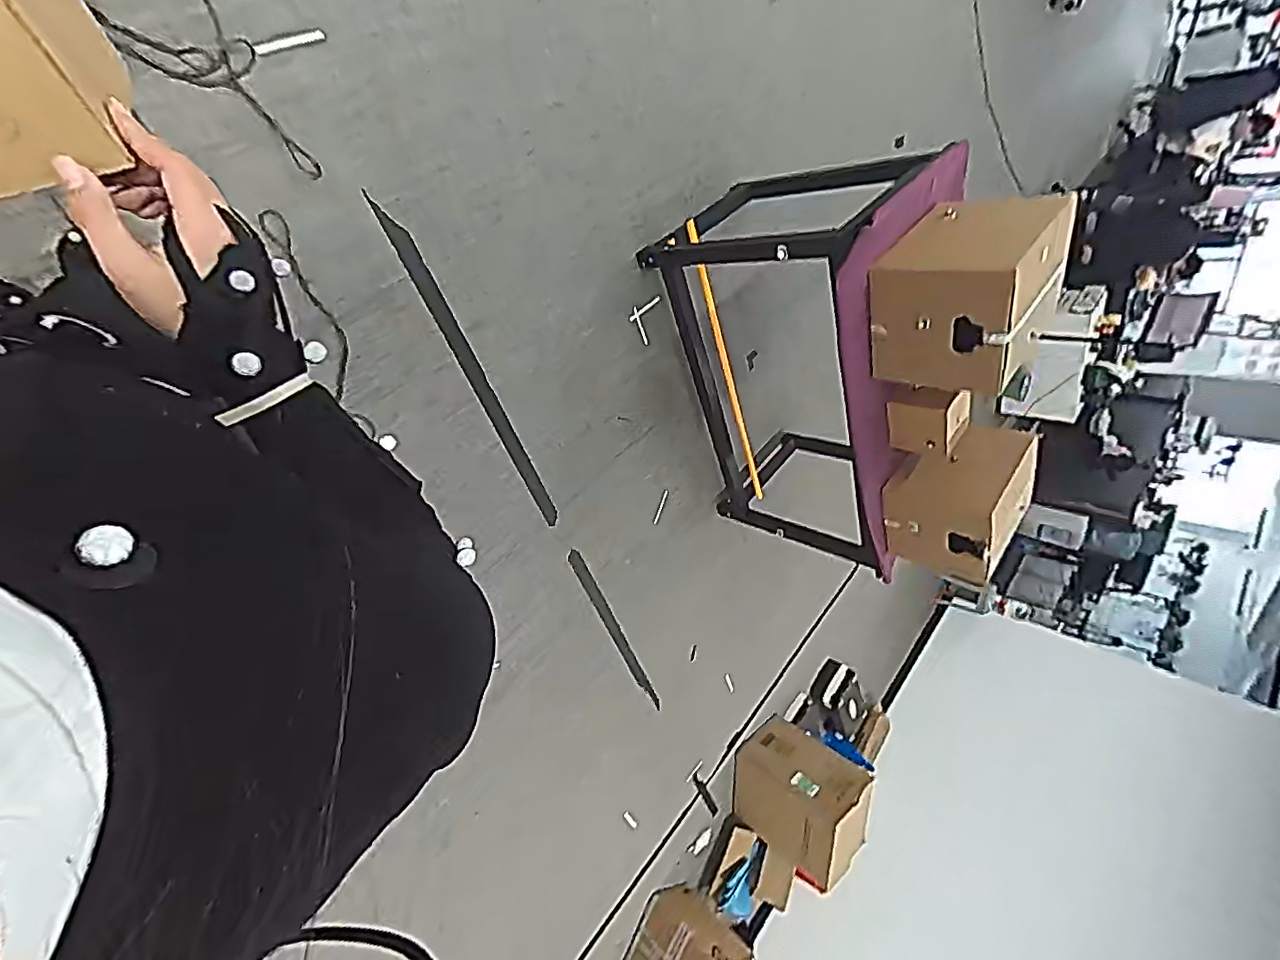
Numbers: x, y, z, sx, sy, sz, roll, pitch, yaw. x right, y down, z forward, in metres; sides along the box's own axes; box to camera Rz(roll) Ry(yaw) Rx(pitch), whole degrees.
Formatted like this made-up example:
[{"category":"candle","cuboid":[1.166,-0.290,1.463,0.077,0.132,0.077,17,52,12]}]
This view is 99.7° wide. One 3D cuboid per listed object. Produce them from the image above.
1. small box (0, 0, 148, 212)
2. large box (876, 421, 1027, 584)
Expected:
[{"category":"small box","cuboid":[-0.376,-0.237,0.239,0.168,0.176,0.179,-25,149,-16]},{"category":"large box","cuboid":[1.023,0.057,1.784,0.408,0.320,0.320,-44,132,-27]}]
